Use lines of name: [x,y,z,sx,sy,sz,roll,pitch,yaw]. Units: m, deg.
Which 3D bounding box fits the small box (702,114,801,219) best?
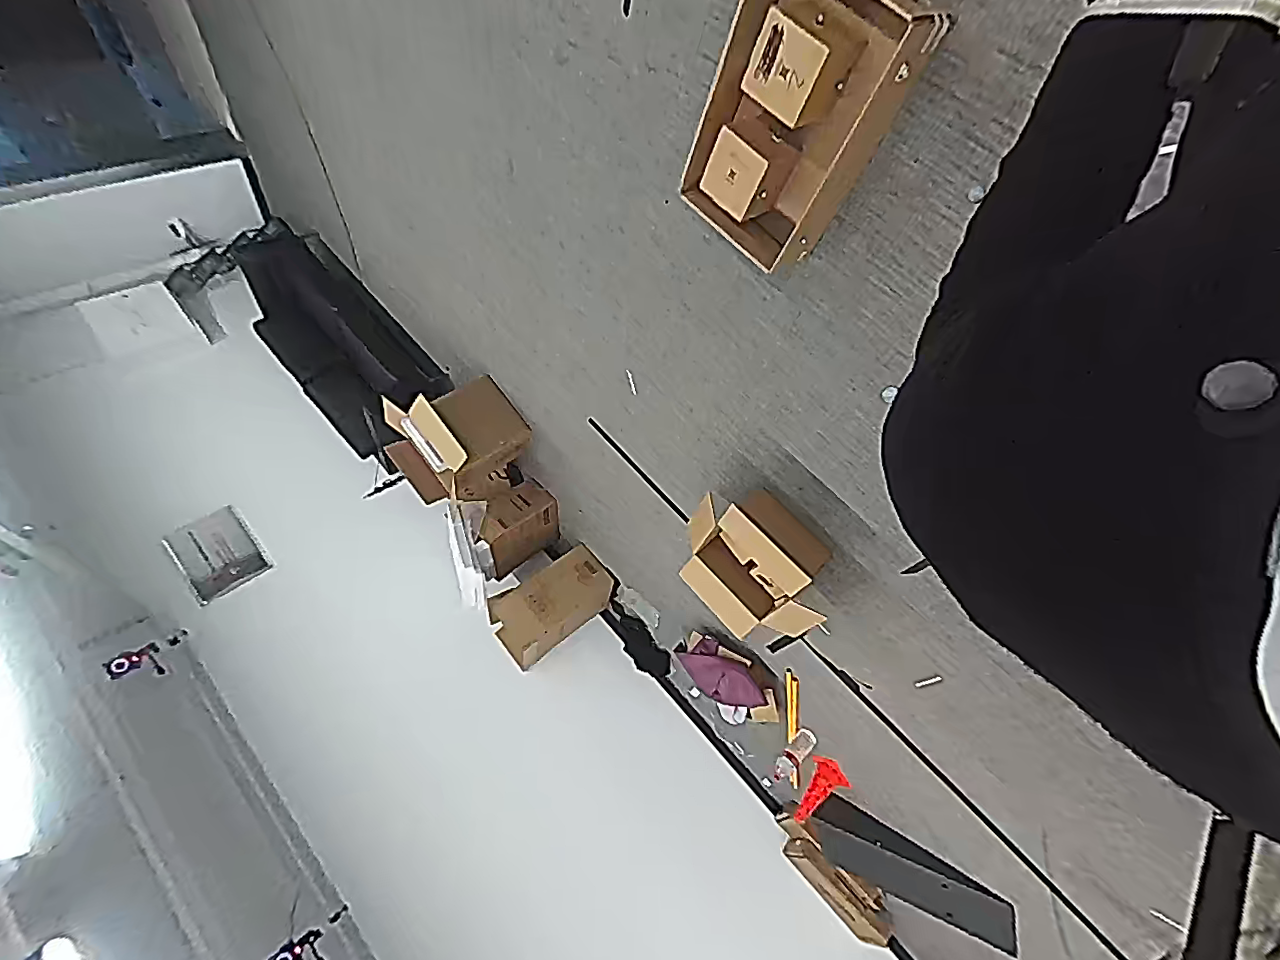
small box: [0.305,-0.854,1.471,0.168,0.176,0.179,46,148,11]
